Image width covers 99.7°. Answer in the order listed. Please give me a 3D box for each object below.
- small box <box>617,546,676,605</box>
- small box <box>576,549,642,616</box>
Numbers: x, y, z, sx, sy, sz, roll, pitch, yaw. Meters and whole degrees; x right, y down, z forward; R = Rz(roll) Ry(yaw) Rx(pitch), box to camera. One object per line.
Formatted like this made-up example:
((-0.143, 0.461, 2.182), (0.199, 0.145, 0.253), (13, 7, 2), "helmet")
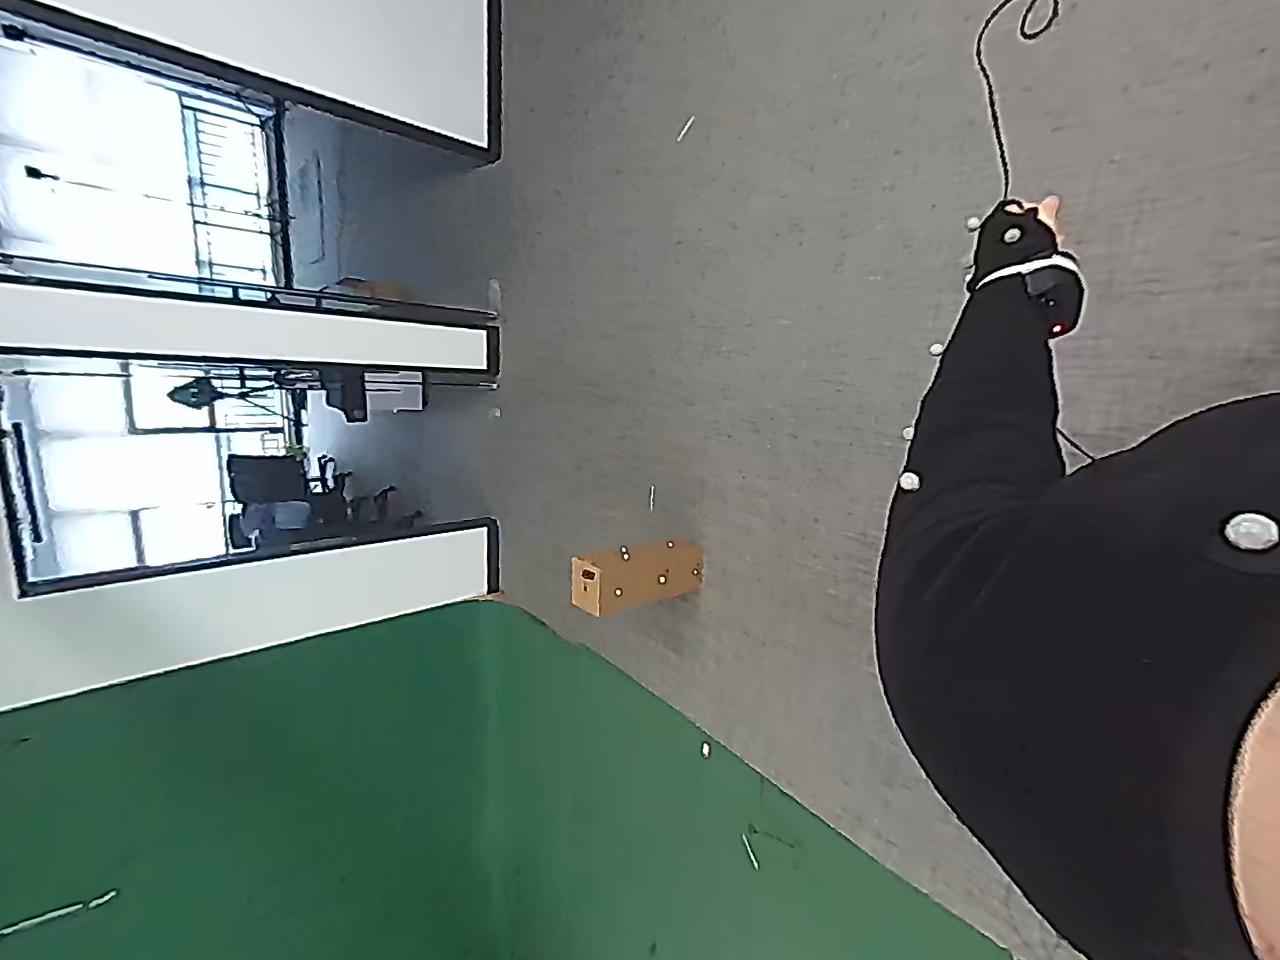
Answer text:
((0.013, 0.350, 2.027), (0.179, 0.176, 0.168), (11, 103, 48), "small box")
((-0.108, 0.355, 1.916), (0.168, 0.176, 0.179), (14, 105, 48), "small box")
